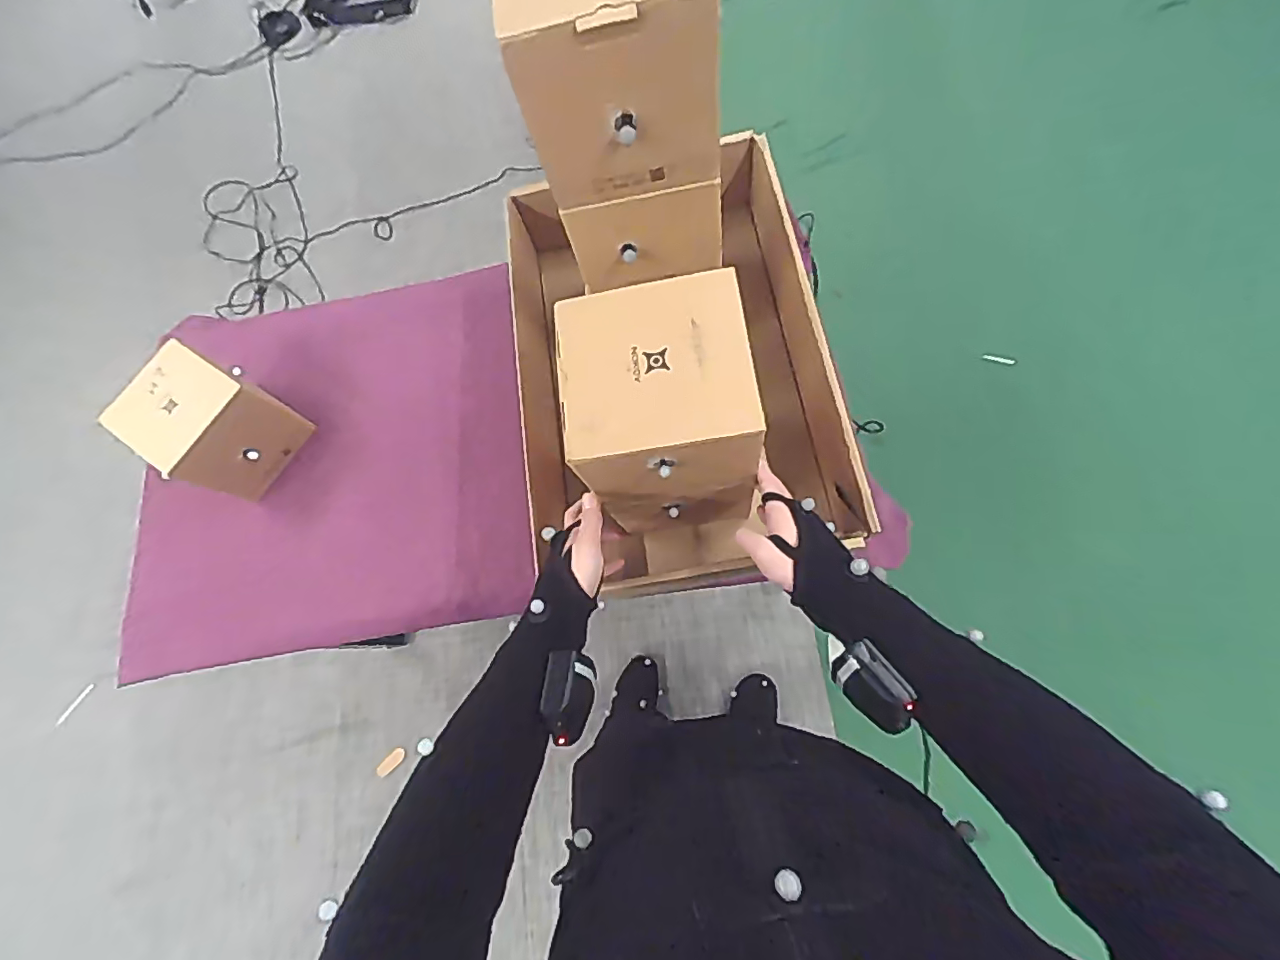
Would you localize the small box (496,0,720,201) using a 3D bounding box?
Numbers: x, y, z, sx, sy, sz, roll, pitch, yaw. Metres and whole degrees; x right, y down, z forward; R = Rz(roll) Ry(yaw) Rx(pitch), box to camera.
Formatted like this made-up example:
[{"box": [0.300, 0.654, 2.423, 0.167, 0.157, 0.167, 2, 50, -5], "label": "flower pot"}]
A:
[{"box": [-0.021, -0.381, 0.485, 0.168, 0.176, 0.179, -8, 74, 6], "label": "small box"}]

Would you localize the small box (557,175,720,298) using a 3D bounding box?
[{"box": [0.002, -0.333, 0.641, 0.168, 0.176, 0.179, -9, 73, 6], "label": "small box"}]

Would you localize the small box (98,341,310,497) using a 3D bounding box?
[{"box": [-0.695, -0.088, 0.885, 0.179, 0.176, 0.168, 31, 78, 15], "label": "small box"}]

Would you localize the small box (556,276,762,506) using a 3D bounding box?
[{"box": [0.024, -0.077, 0.559, 0.179, 0.176, 0.168, -8, 73, 7], "label": "small box"}]
